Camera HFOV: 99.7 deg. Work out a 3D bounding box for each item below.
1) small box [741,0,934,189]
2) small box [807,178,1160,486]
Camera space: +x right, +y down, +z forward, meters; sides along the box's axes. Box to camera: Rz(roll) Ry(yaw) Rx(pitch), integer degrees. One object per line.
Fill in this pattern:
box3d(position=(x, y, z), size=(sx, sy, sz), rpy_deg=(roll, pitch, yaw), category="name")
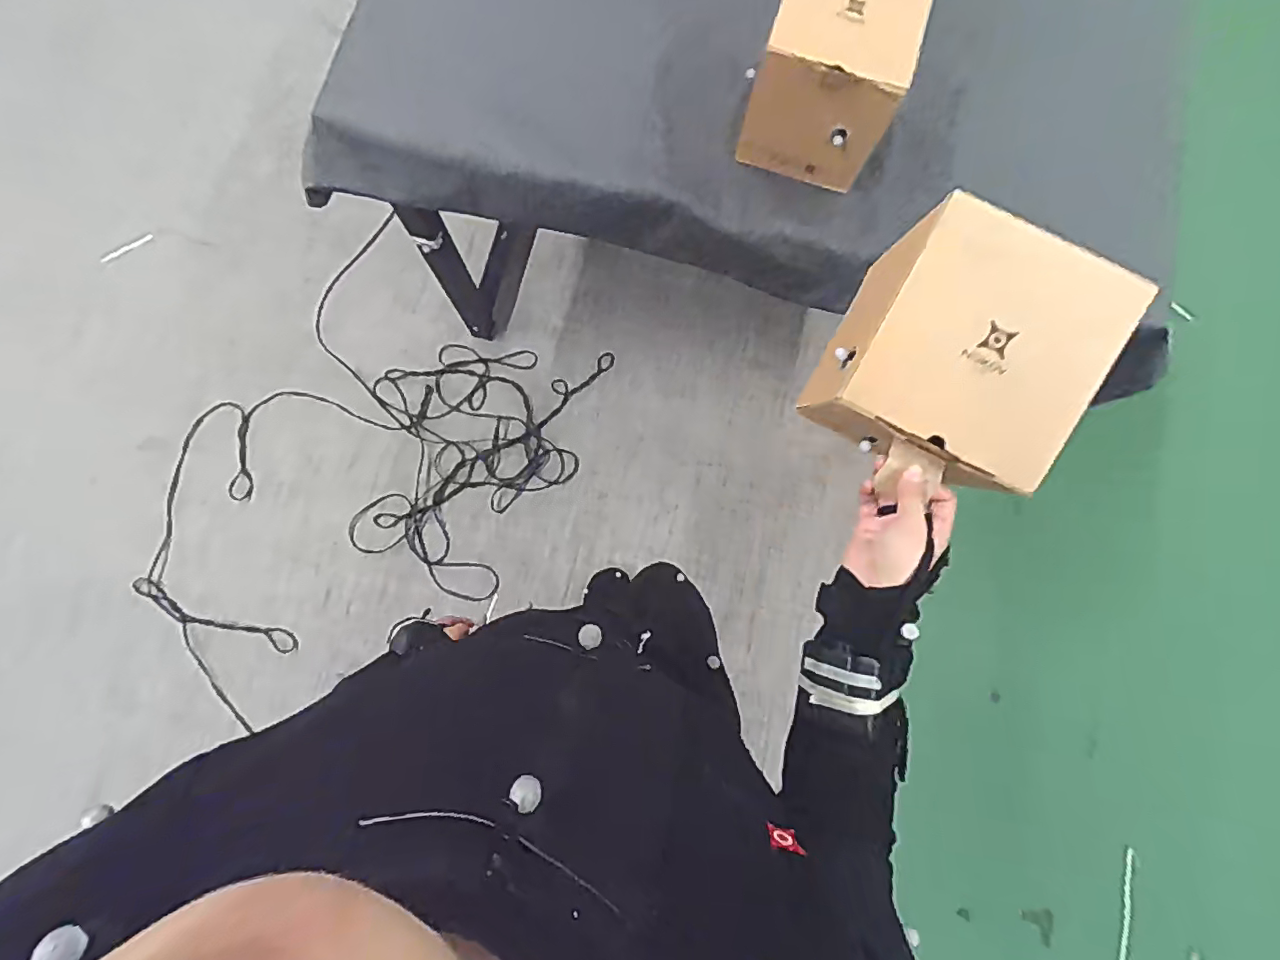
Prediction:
box3d(position=(0.239, -0.513, 0.686), size=(0.168, 0.176, 0.179), rpy_deg=(18, 79, -1), category="small box")
box3d(position=(0.270, -0.116, 0.478), size=(0.168, 0.176, 0.179), rpy_deg=(26, 98, 2), category="small box")
